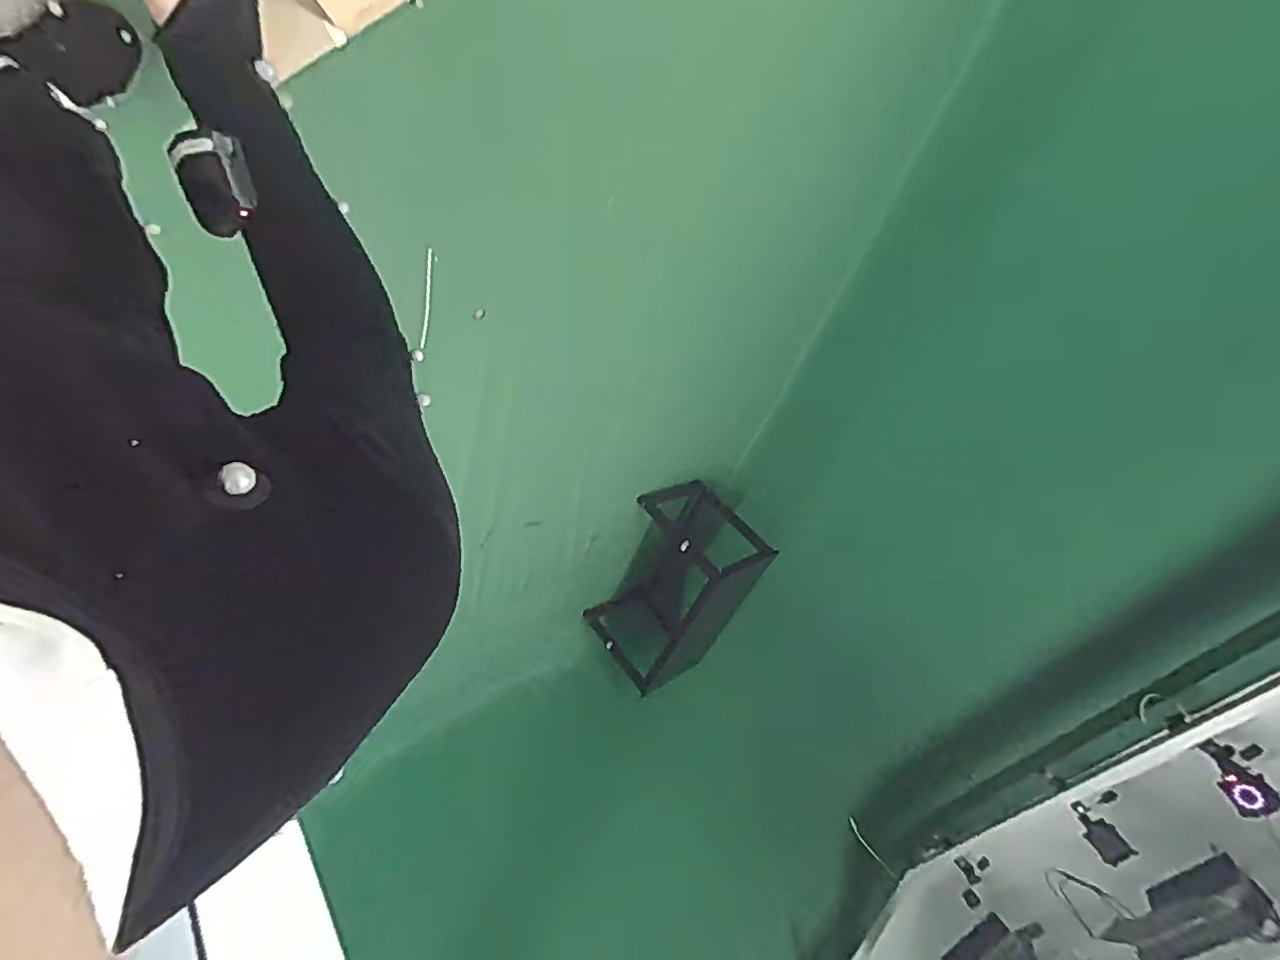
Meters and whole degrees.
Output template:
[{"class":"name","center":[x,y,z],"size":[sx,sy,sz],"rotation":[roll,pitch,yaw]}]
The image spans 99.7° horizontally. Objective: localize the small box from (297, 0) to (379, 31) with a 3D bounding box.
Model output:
[{"class":"small box","center":[-0.448,-0.775,0.740],"size":[0.168,0.176,0.179],"rotation":[-44,152,-2]}]
